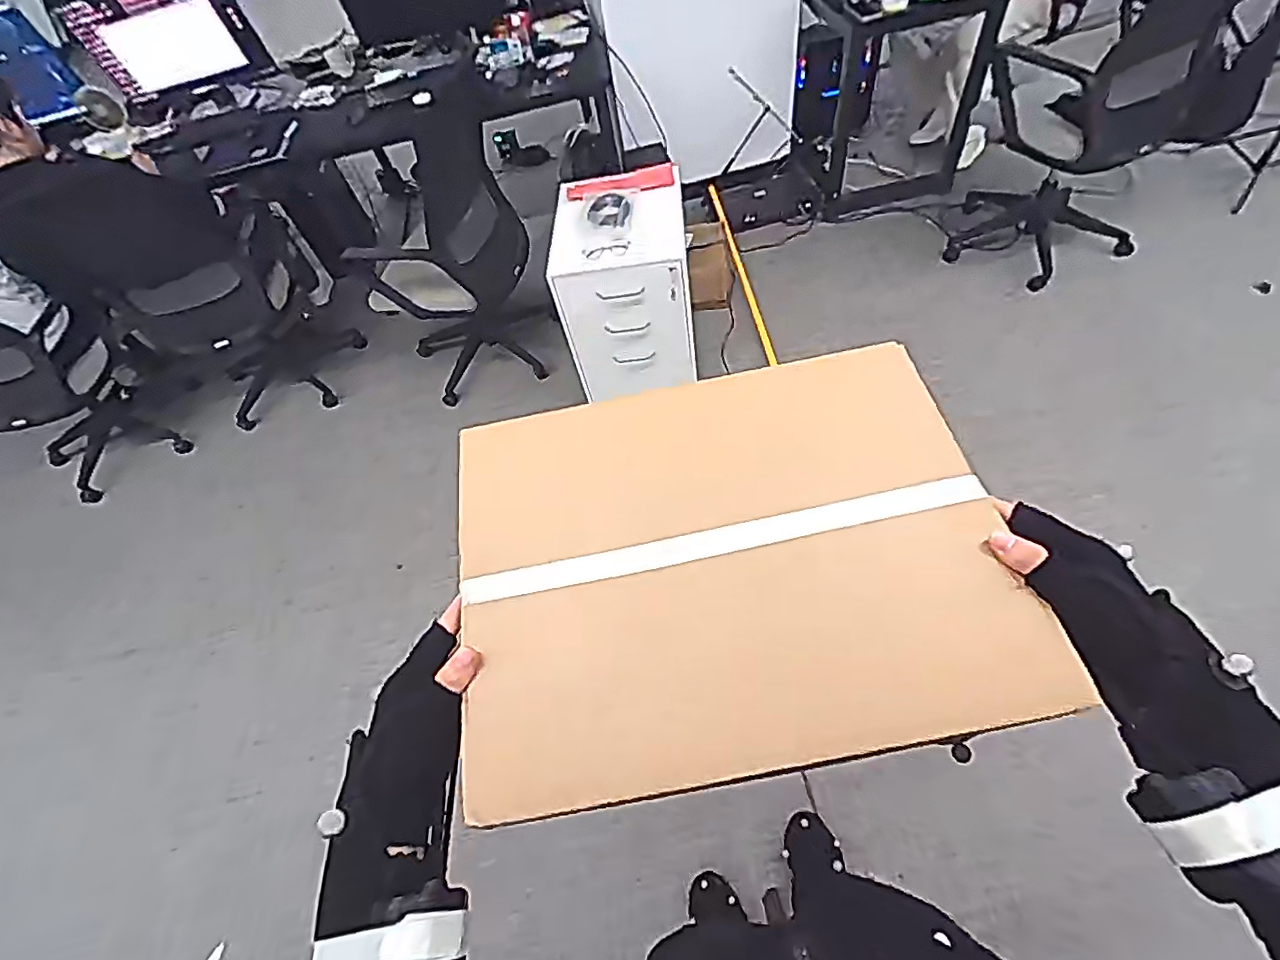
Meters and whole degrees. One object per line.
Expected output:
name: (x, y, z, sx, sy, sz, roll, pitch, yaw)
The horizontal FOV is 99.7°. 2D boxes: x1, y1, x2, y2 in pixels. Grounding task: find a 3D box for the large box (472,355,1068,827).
large box: (0.082, 0.126, 0.557, 0.408, 0.320, 0.320, -12, 60, 1)
